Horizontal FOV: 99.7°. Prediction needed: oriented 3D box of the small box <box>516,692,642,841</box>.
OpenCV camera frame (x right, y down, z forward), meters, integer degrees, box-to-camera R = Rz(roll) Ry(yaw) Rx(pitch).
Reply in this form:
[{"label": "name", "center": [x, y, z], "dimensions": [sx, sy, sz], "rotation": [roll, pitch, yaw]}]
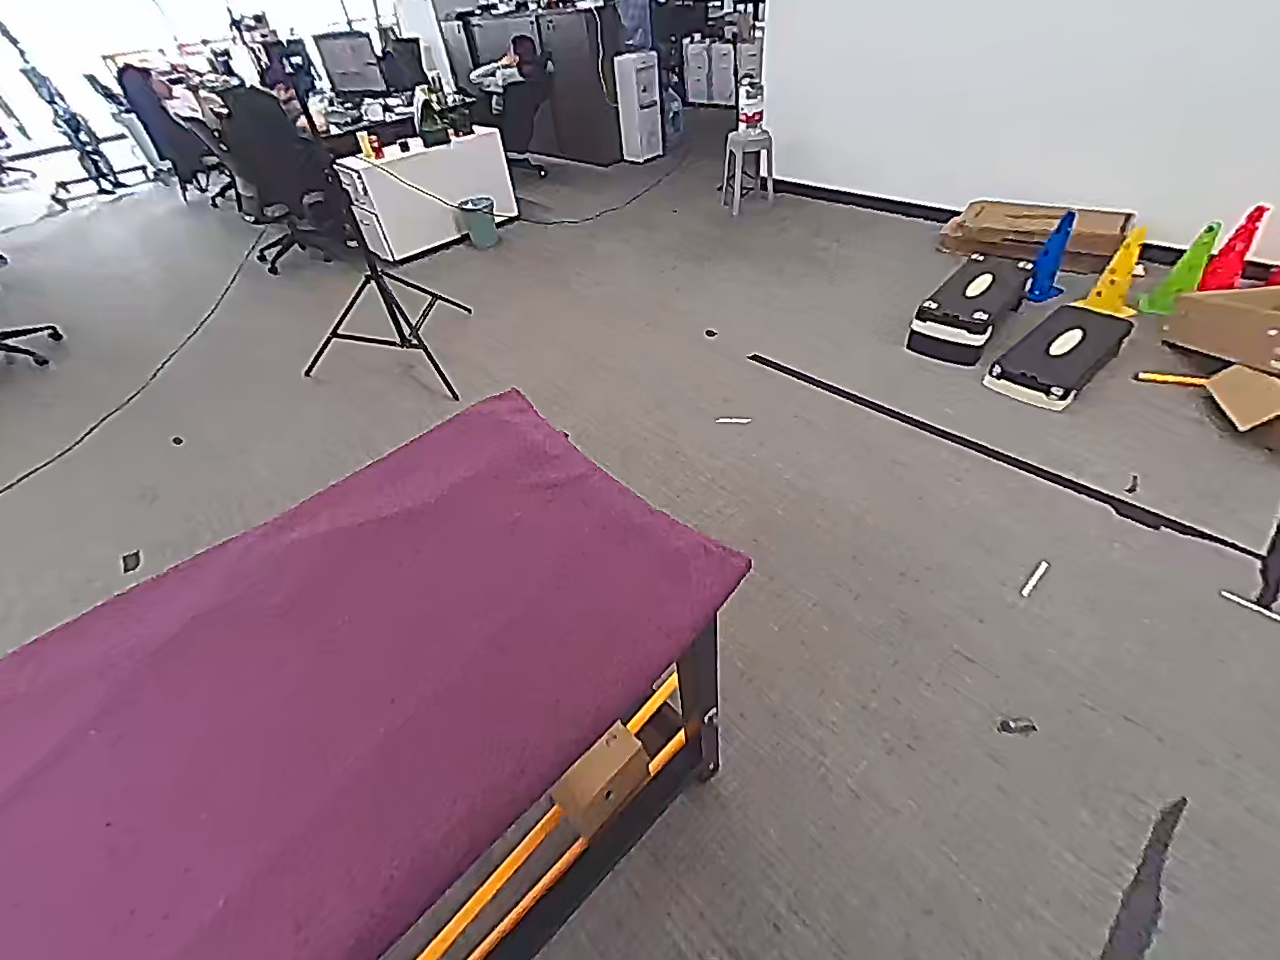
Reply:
[{"label": "small box", "center": [-0.111, 0.568, 1.069], "dimensions": [0.179, 0.176, 0.168], "rotation": [-37, 52, -27]}]
